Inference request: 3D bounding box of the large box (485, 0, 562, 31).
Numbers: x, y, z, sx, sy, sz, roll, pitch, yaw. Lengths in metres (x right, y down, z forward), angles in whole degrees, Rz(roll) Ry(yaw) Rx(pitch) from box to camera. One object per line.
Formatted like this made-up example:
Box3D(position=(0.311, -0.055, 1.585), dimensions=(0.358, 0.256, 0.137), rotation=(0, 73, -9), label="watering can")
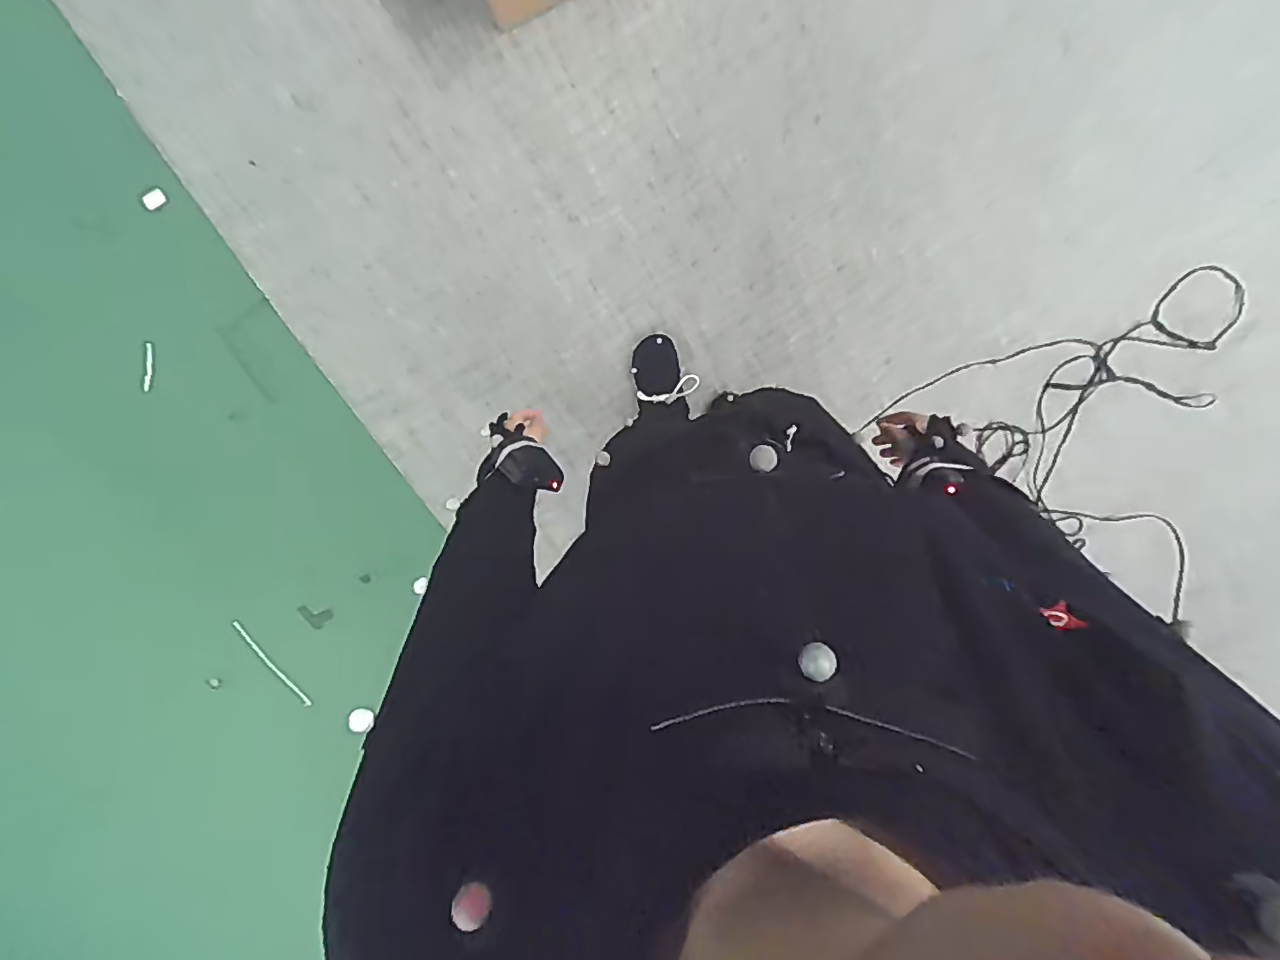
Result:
Box3D(position=(-0.163, -1.078, 0.900), dimensions=(0.408, 0.320, 0.320), rotation=(-24, 106, 4), label="large box")
